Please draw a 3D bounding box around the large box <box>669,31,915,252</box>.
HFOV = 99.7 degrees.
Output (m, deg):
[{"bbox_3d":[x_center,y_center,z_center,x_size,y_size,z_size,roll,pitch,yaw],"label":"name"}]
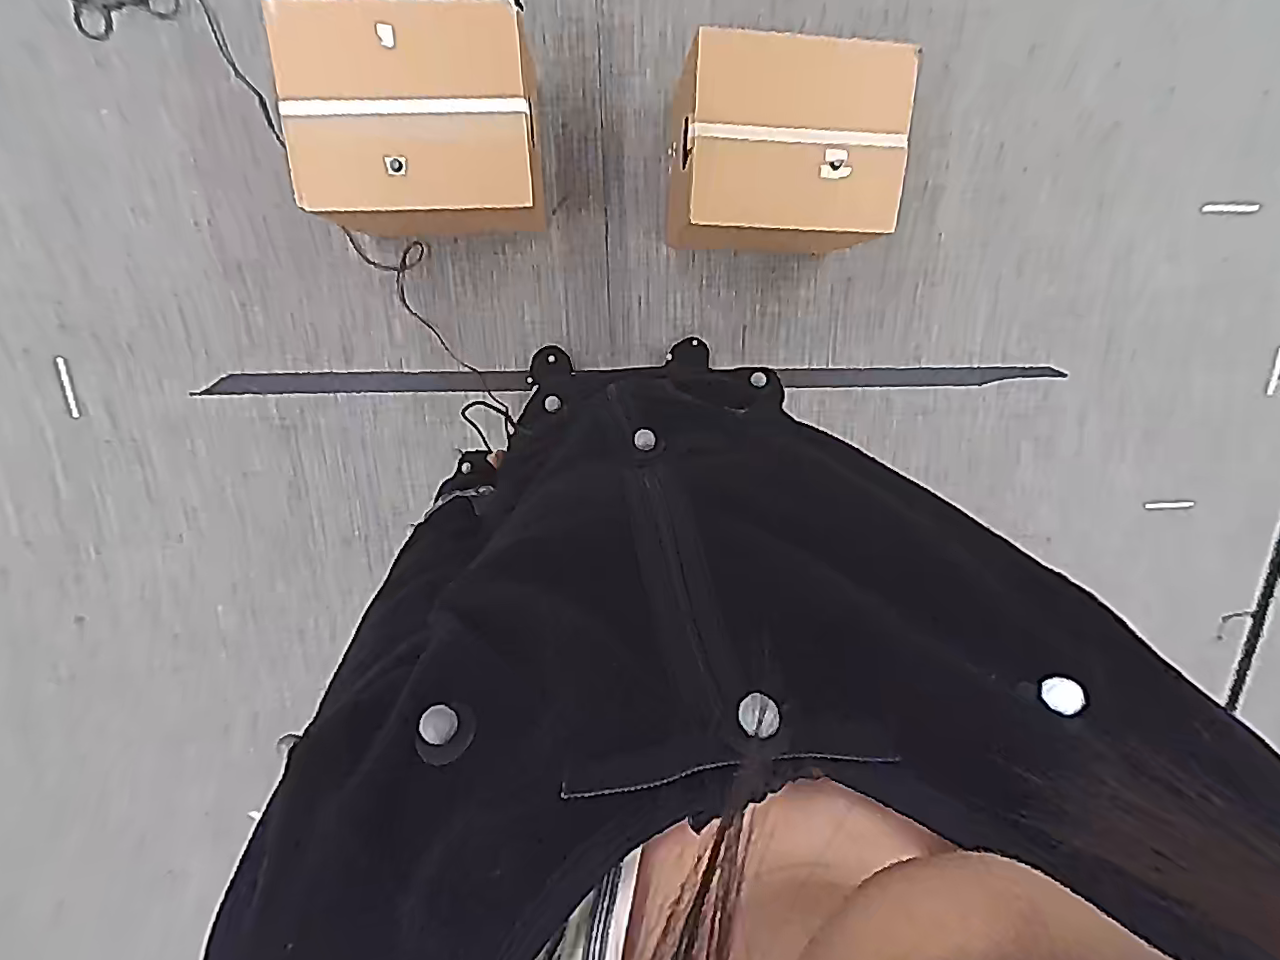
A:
[{"bbox_3d":[0.282,-0.669,1.135,0.408,0.320,0.320,0,106,-6],"label":"large box"}]
